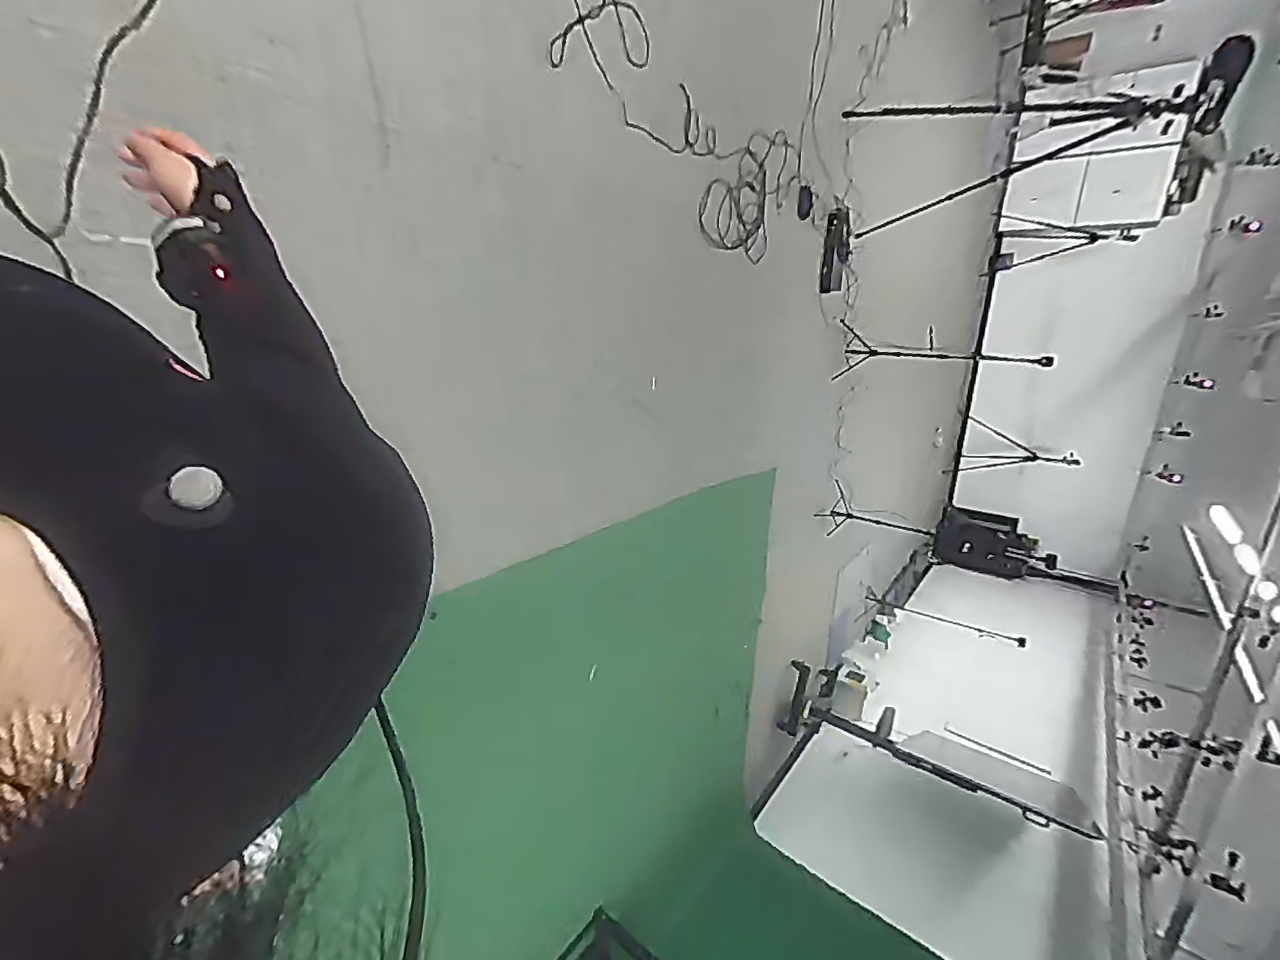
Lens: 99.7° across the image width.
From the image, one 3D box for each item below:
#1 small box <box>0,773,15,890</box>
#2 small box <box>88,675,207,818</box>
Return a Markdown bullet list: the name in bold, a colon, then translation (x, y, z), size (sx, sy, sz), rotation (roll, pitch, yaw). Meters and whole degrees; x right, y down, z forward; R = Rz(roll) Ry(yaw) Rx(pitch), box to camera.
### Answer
- **small box**: translation (-1.202, 0.618, 0.920), size (0.168, 0.176, 0.179), rotation (-10, 108, -51)
- **small box**: translation (-1.017, 0.547, 1.135), size (0.168, 0.176, 0.179), rotation (-19, 115, -48)
